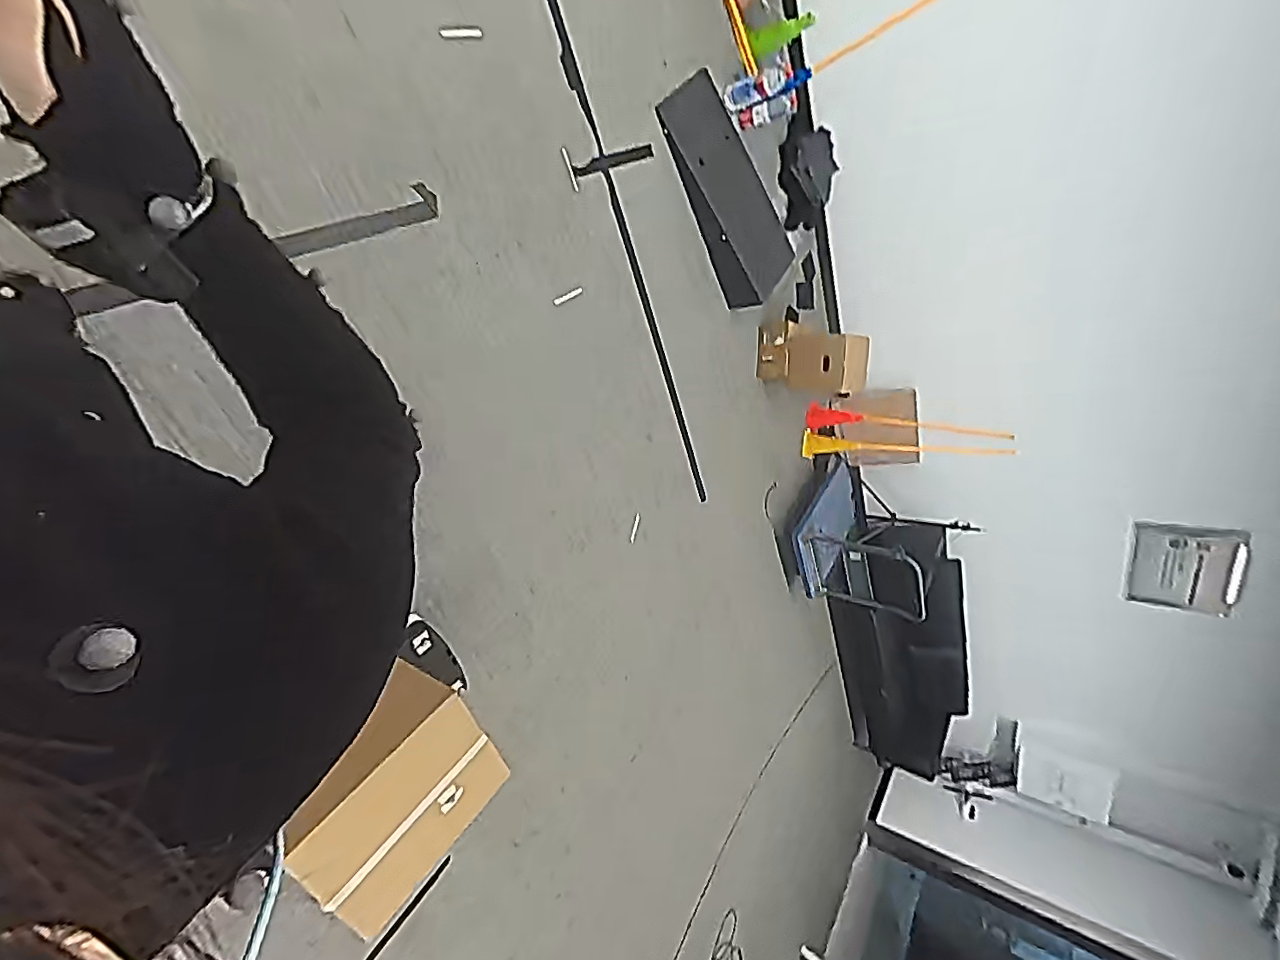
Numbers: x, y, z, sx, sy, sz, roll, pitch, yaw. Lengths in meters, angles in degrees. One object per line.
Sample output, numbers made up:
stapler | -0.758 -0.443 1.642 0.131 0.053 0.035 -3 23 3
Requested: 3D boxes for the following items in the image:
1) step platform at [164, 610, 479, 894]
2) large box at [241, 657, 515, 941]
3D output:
step platform | -0.756 0.649 1.392 0.684 0.204 0.286 -37 121 -42
large box | -0.578 0.689 1.236 0.408 0.320 0.320 -43 126 -39
